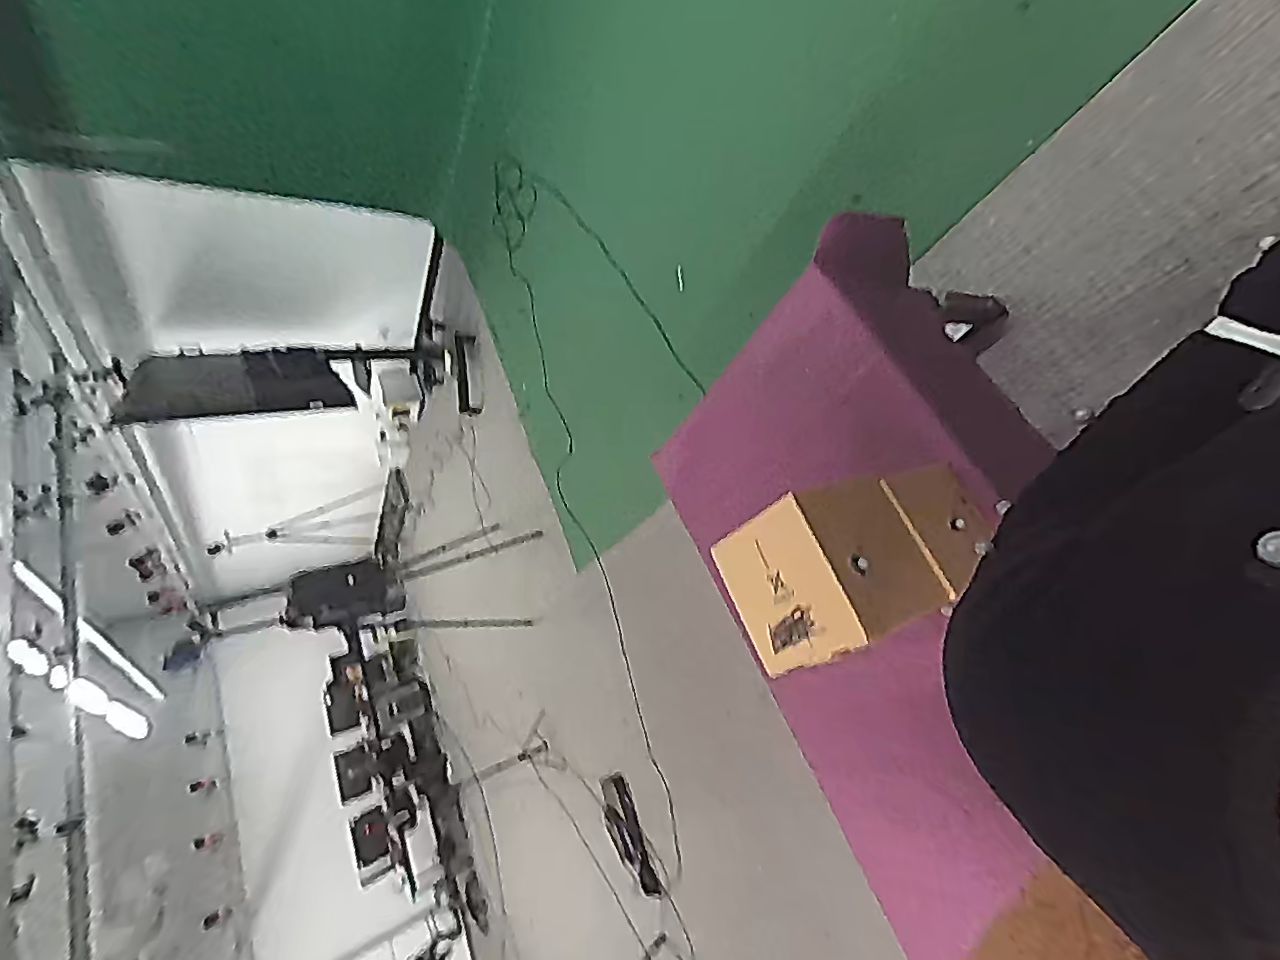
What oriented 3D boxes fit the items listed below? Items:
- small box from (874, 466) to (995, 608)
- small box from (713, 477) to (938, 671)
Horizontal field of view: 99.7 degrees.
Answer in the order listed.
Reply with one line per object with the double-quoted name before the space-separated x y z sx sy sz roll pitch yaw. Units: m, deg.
"small box" 0.367 0.095 0.773 0.179 0.176 0.168 -47 60 48
"small box" 0.231 0.113 0.682 0.168 0.176 0.179 -46 61 48
